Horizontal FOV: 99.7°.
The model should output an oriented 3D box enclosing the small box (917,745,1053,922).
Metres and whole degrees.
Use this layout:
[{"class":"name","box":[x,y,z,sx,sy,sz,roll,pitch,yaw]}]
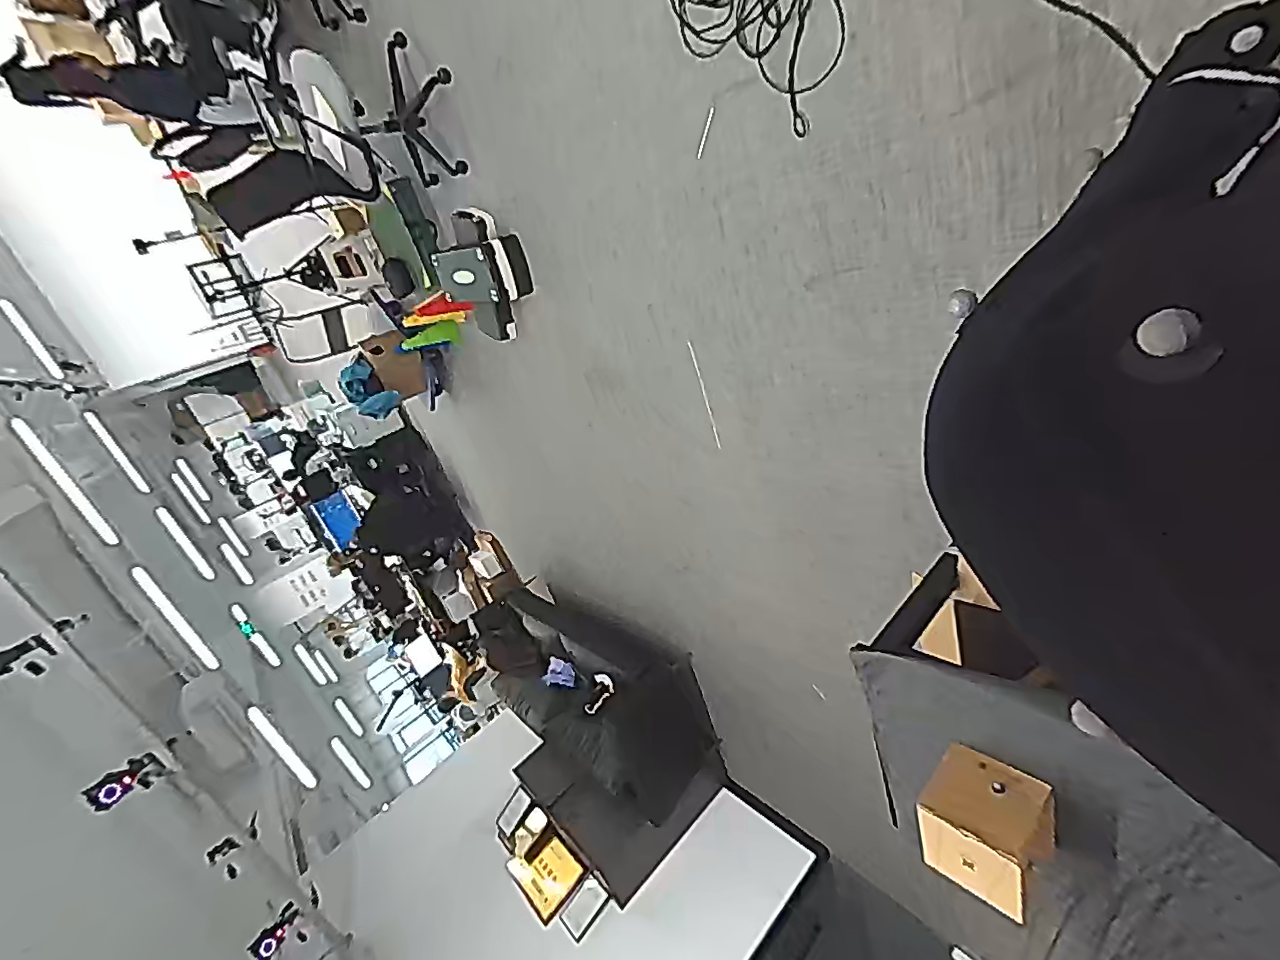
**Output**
[{"class":"small box","box":[0.641,0.641,1.000,0.168,0.176,0.179,11,126,50]}]
